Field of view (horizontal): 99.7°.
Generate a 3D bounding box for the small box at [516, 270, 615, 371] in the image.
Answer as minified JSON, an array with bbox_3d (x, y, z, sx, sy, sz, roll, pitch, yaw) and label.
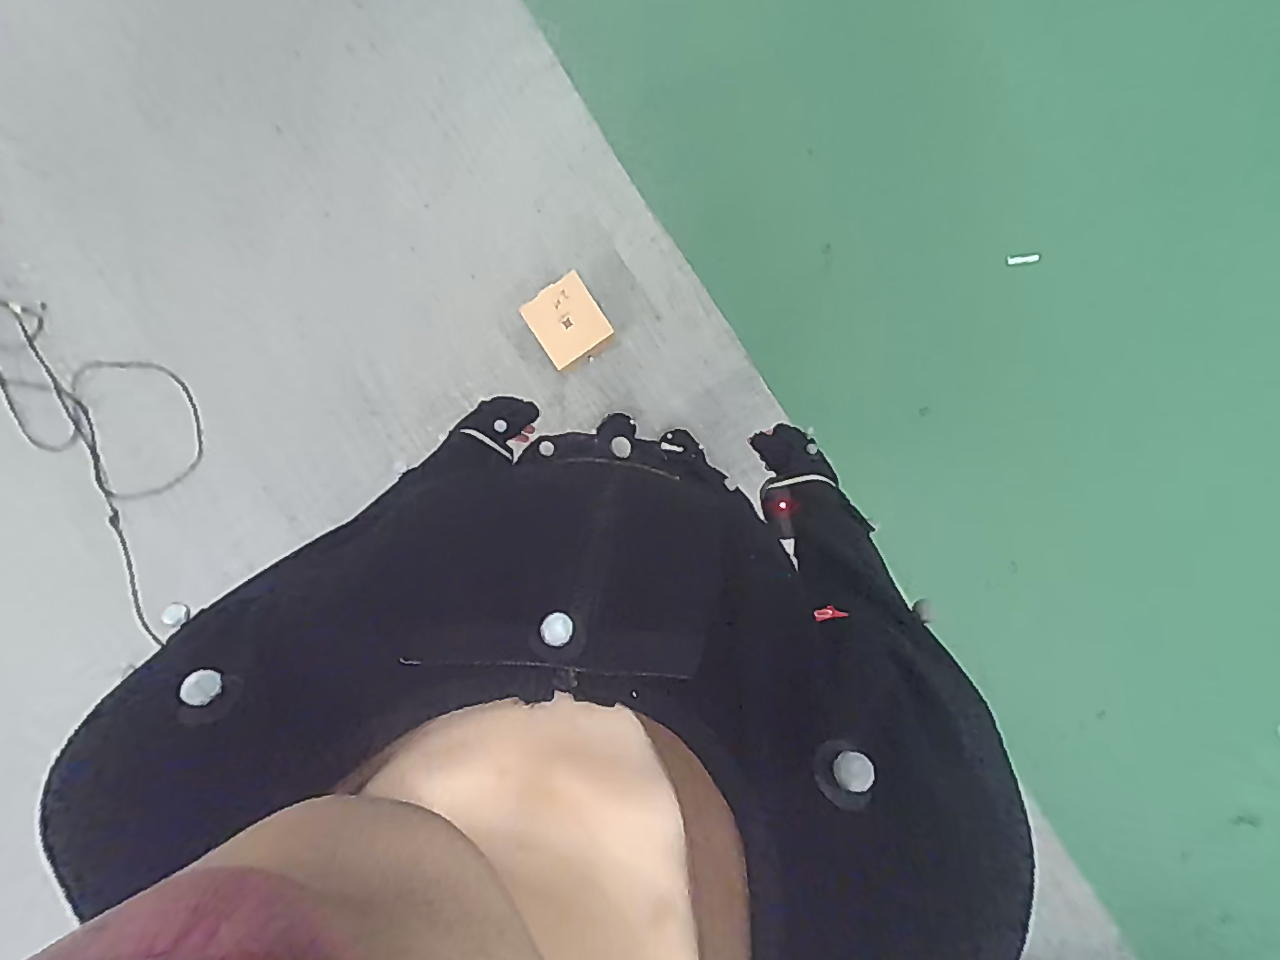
[{"bbox_3d":[-0.175,-0.388,1.351,0.168,0.176,0.179,-33,95,6],"label":"small box"}]
